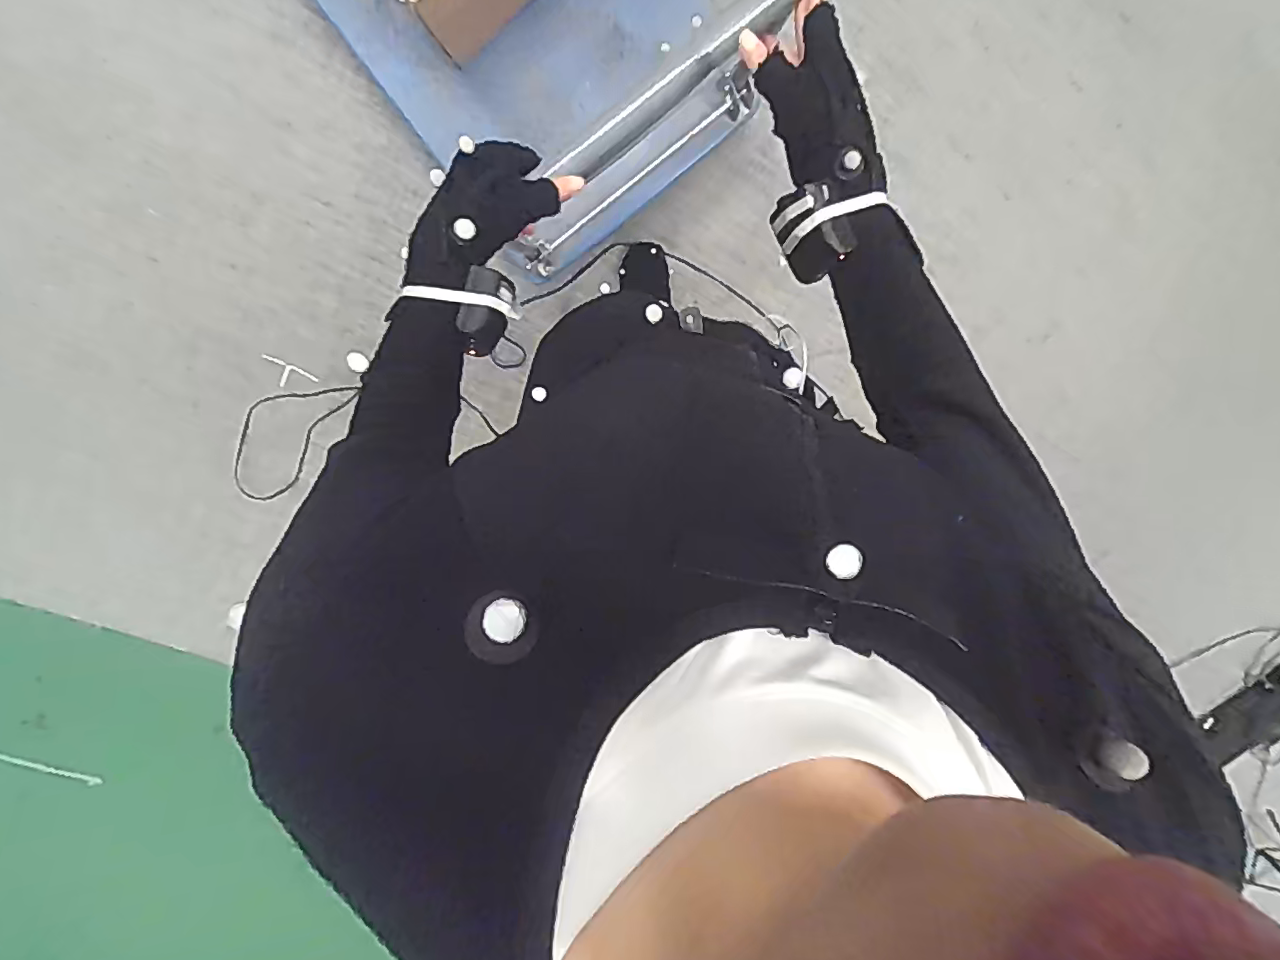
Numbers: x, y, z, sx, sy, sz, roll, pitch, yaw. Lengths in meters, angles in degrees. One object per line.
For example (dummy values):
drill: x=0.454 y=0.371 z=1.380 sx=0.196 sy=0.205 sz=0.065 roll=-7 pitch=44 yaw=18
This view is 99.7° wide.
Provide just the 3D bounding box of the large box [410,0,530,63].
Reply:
large box: x=-0.245 y=-0.914 z=0.758 sx=0.408 sy=0.320 sz=0.320 roll=-37 pitch=111 yaw=12
